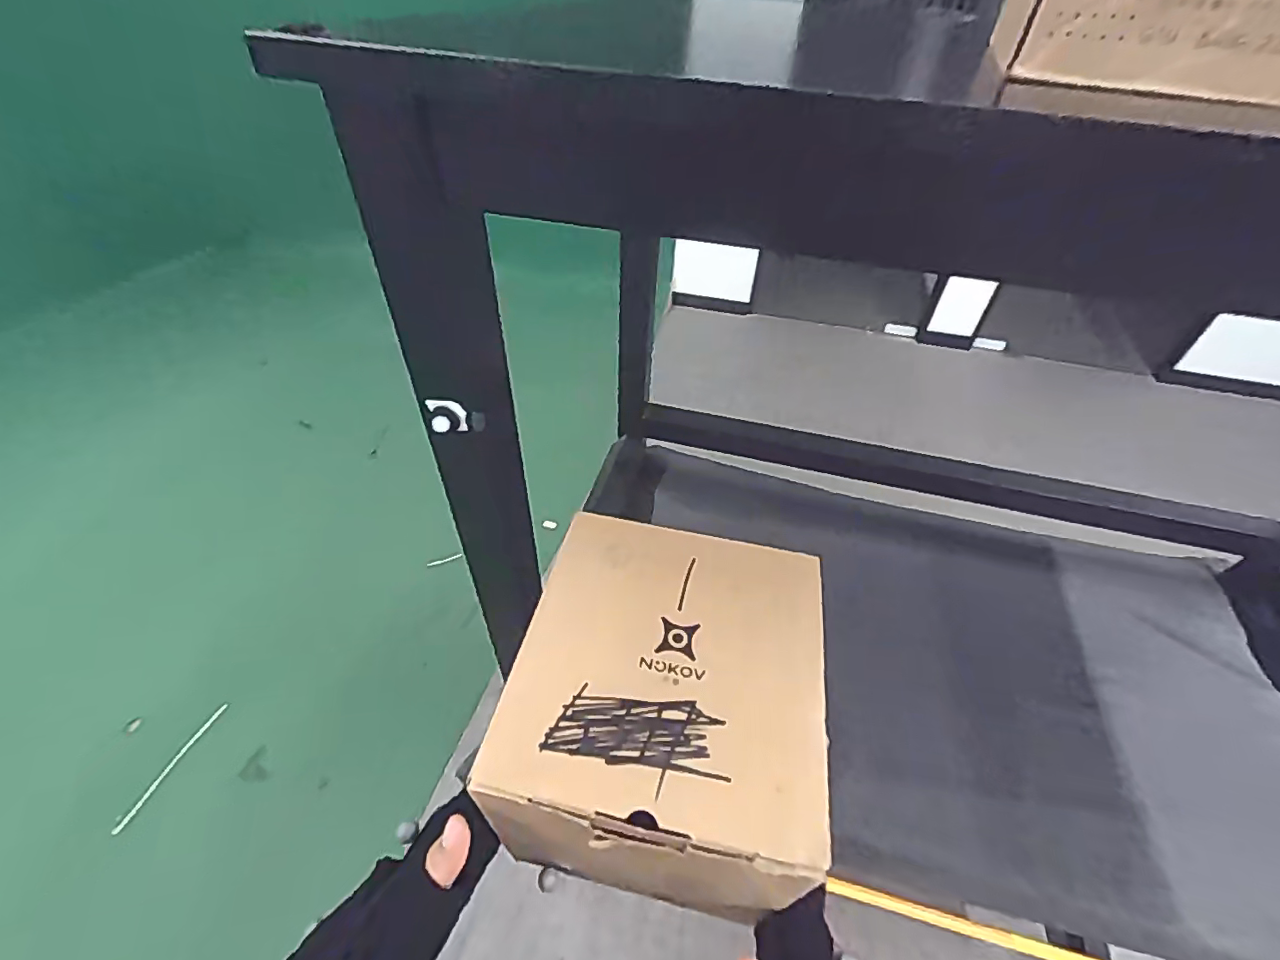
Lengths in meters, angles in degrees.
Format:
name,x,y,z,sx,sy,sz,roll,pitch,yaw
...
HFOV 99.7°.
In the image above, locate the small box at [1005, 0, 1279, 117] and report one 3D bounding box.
name,x,y,z,sx,sy,sz,roll,pitch,yaw
small box,0.278,-0.265,0.220,0.168,0.176,0.179,19,47,15
